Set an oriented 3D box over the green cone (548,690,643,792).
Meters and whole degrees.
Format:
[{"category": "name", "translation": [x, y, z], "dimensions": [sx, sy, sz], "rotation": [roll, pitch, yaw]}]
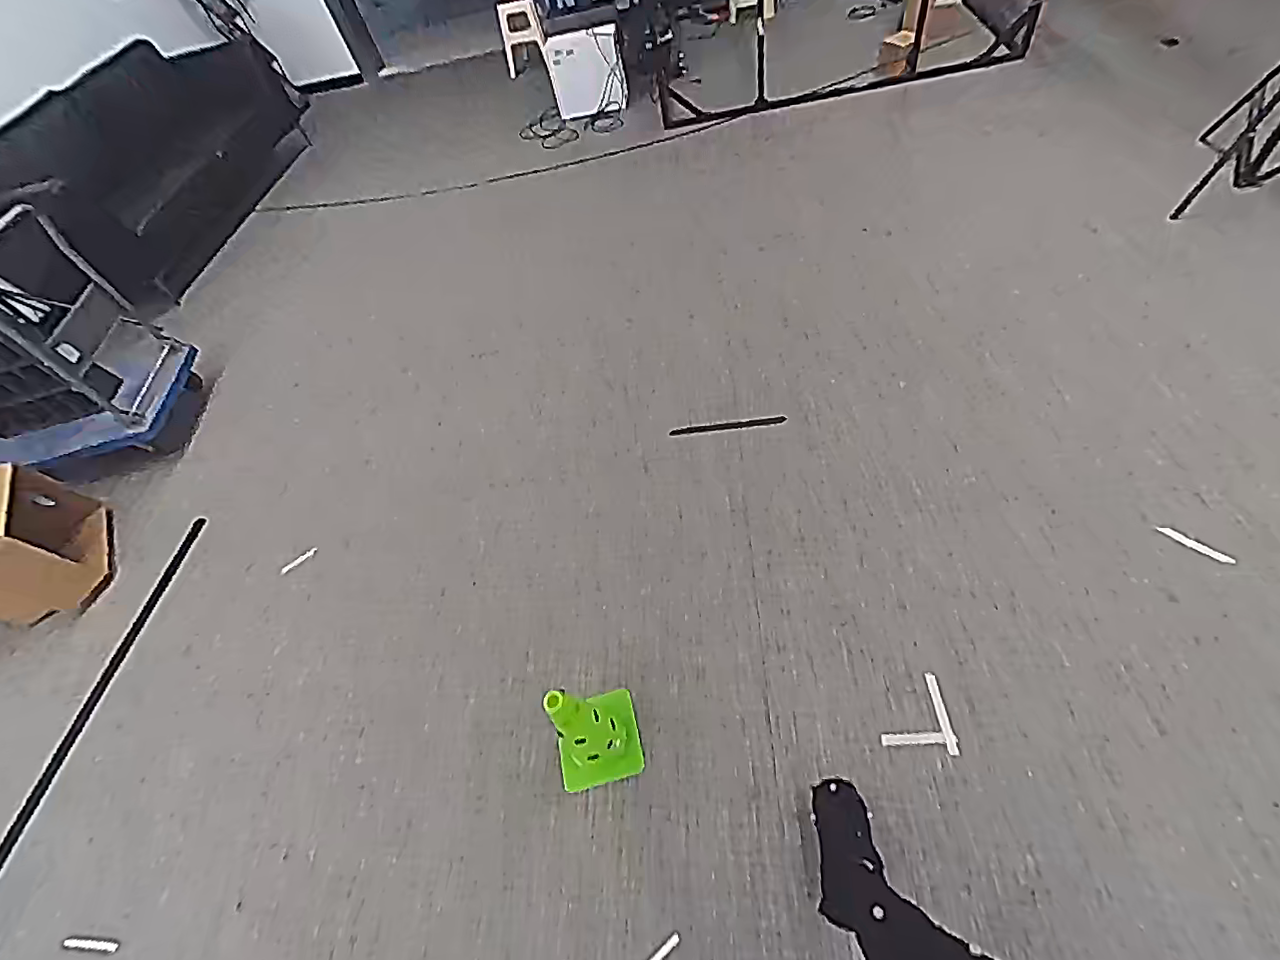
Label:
[{"category": "green cone", "translation": [-0.135, 0.538, 1.193], "dimensions": [0.202, 0.368, 0.200], "rotation": [-17, 53, 0]}]
